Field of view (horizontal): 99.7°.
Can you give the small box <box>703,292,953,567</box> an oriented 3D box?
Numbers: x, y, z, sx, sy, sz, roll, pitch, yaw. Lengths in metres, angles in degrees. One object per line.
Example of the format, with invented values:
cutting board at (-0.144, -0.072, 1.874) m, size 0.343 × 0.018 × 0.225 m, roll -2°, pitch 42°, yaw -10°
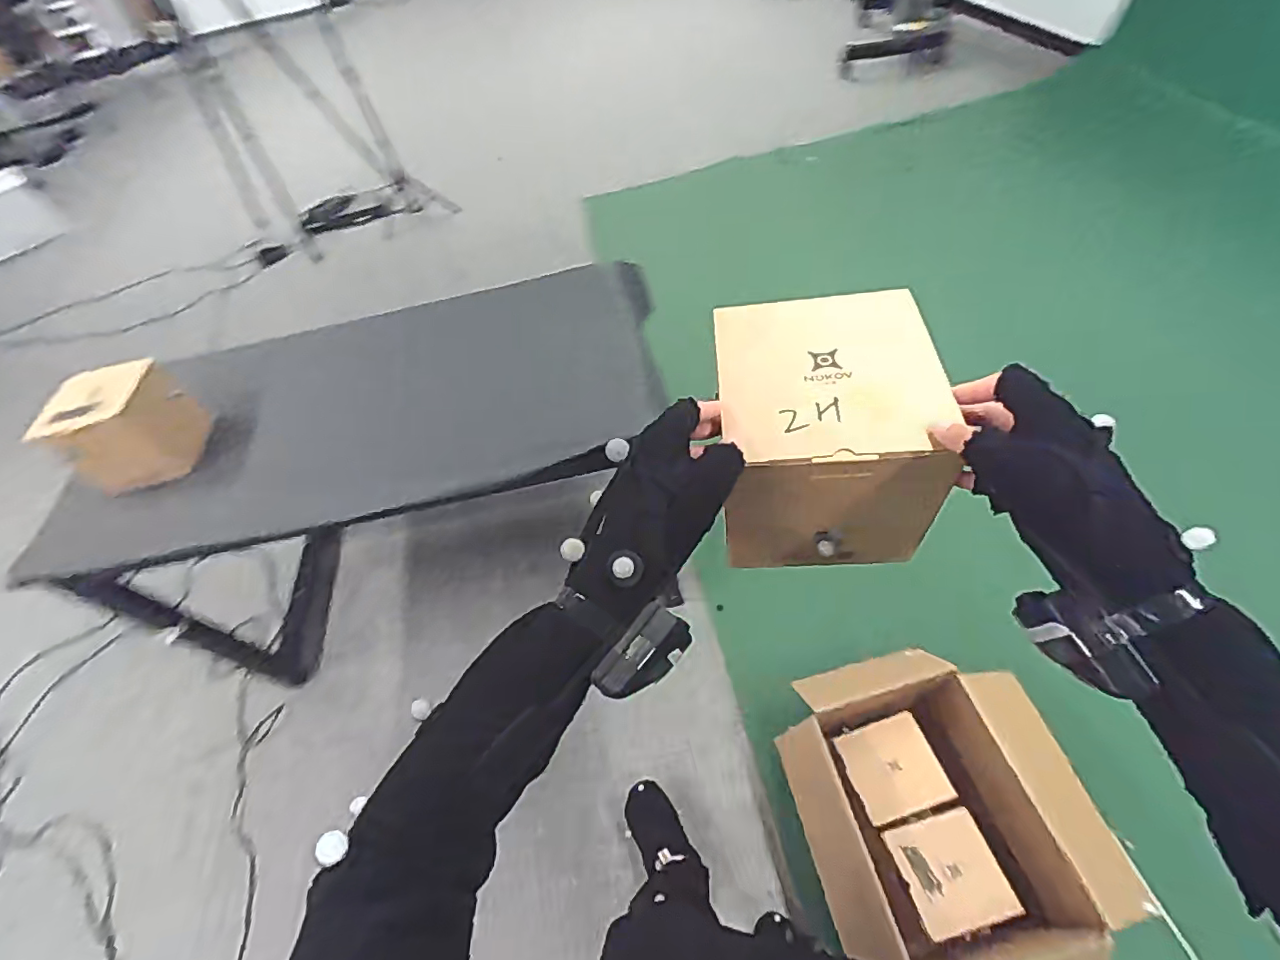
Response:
small box at (0.143, -0.039, 0.484) m, size 0.168 × 0.176 × 0.179 m, roll -4°, pitch 55°, yaw 8°
